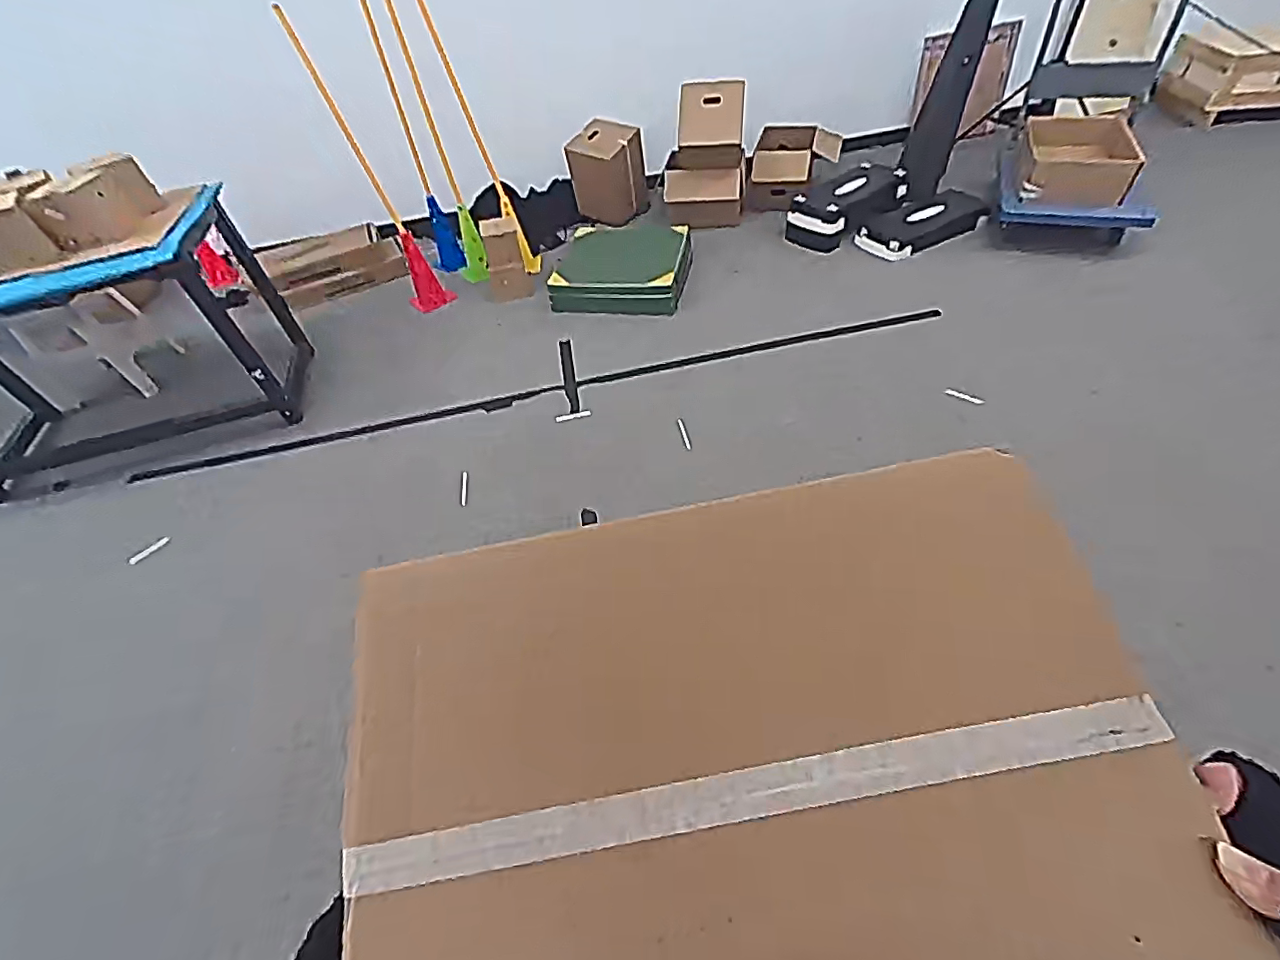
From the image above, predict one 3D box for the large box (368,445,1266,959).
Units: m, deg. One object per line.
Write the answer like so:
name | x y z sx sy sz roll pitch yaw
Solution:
large box | 0.068 0.217 0.413 0.408 0.320 0.320 -12 65 1
